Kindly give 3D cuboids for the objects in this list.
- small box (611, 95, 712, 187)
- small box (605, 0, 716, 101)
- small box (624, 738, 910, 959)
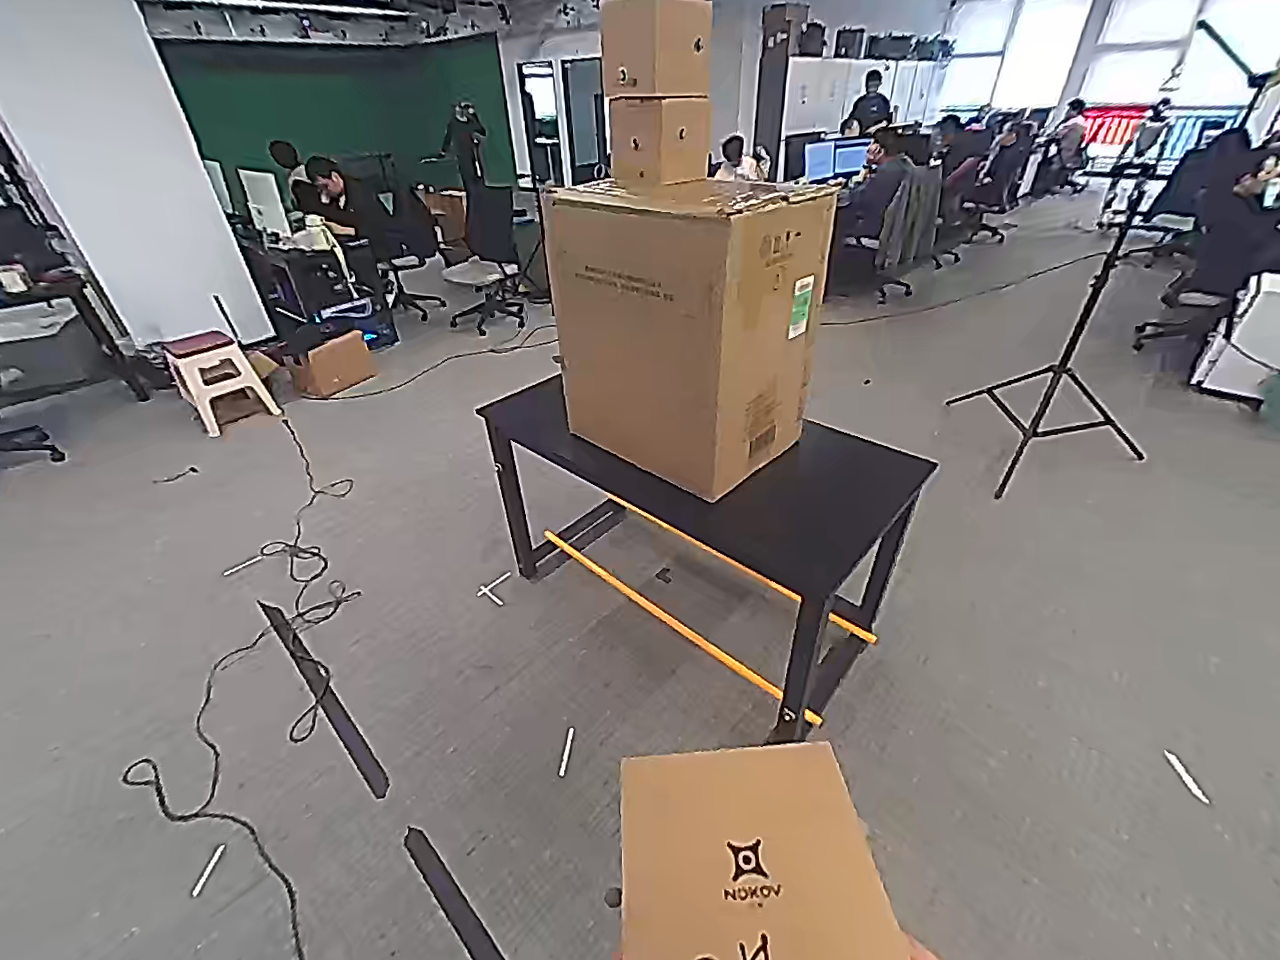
[{"bbox_3d":[0.053,-0.797,1.270,0.168,0.176,0.179,28,45,34],"label":"small box"},{"bbox_3d":[0.042,-0.922,1.164,0.168,0.176,0.179,29,45,36],"label":"small box"},{"bbox_3d":[0.076,0.321,0.392,0.168,0.176,0.179,-5,31,1],"label":"small box"}]
